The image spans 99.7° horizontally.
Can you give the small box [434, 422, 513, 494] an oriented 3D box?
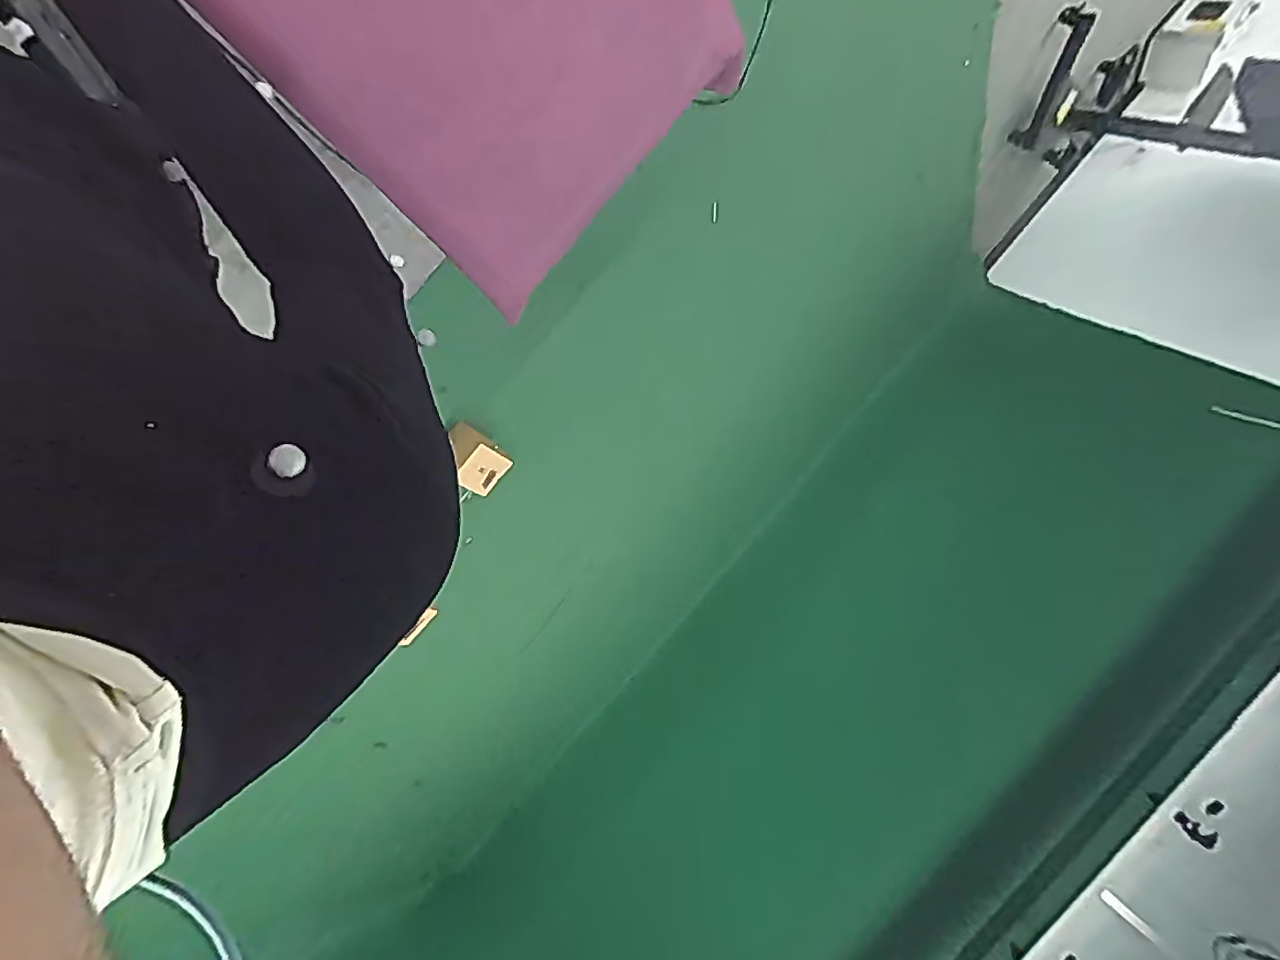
[{"bbox_3d":[-0.599,-0.081,1.940,0.168,0.176,0.179,-50,145,1],"label":"small box"}]
